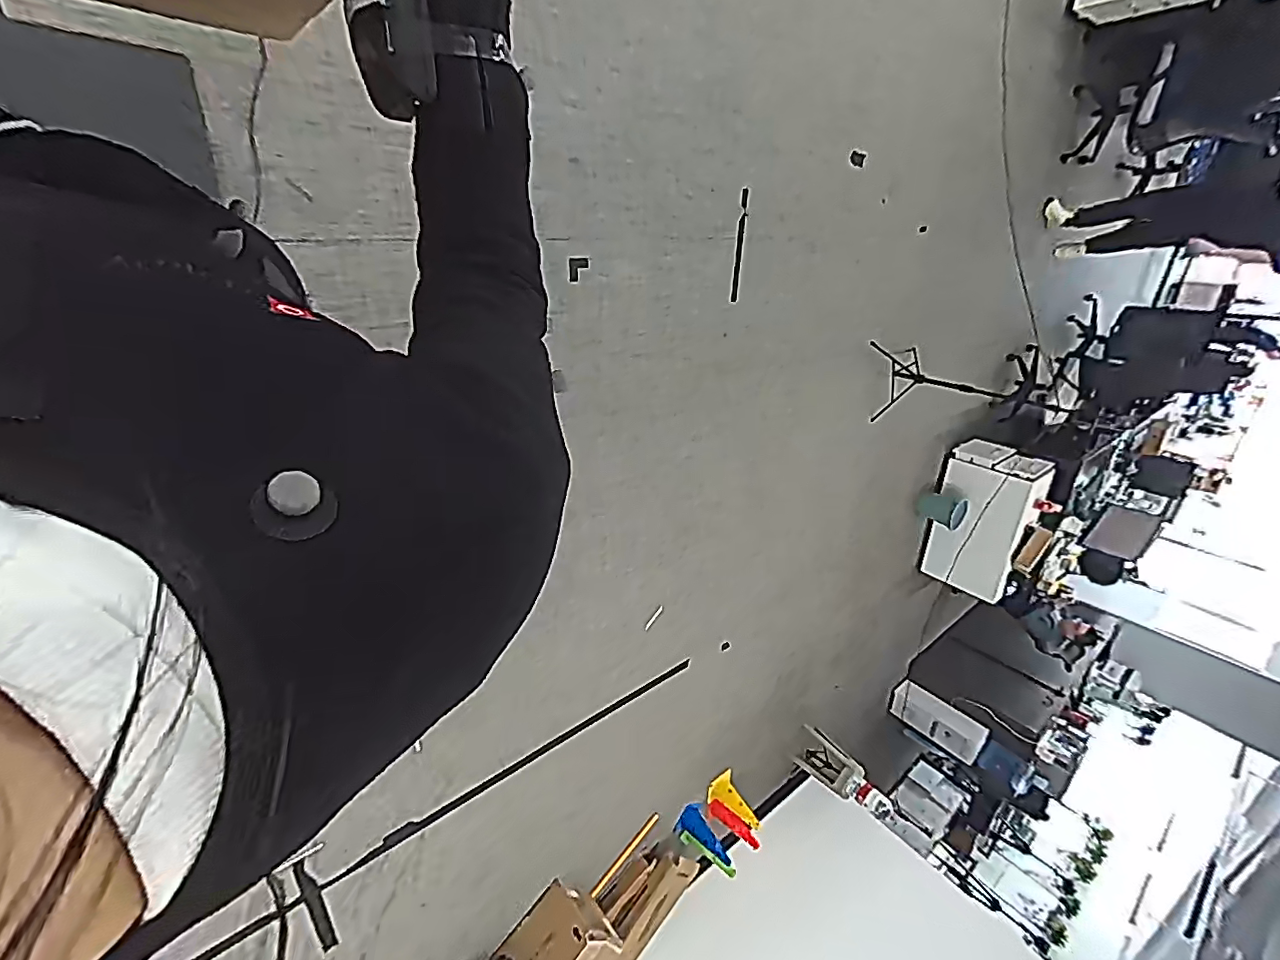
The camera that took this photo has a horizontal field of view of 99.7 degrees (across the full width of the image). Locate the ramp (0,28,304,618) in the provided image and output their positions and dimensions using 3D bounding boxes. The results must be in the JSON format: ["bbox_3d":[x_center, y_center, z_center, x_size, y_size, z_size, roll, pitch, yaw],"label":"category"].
[{"bbox_3d":[-1.026,-0.271,1.023,0.509,0.206,0.991,-16,118,-34],"label":"ramp"}]

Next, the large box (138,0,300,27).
[{"bbox_3d":[-0.380,-0.436,0.208,0.408,0.320,0.320,-16,125,-36],"label":"large box"}]
